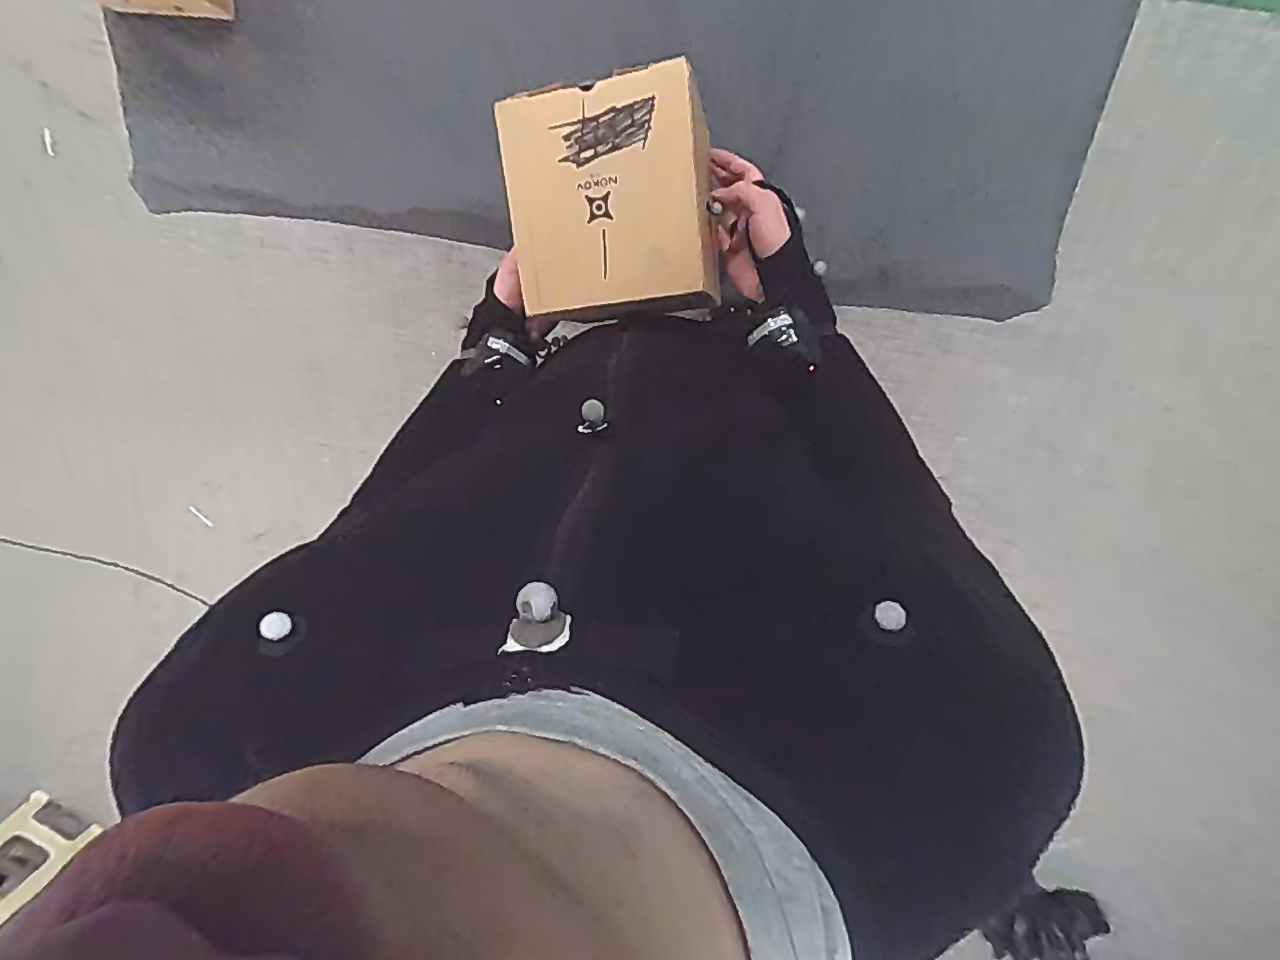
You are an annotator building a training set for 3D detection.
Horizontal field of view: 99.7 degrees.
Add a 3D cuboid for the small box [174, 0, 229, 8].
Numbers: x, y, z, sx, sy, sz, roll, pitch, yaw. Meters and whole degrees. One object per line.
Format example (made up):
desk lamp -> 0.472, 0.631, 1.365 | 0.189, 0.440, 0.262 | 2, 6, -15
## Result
small box -> -0.581, -0.644, 0.573 | 0.168, 0.176, 0.179 | 7, 111, 2
